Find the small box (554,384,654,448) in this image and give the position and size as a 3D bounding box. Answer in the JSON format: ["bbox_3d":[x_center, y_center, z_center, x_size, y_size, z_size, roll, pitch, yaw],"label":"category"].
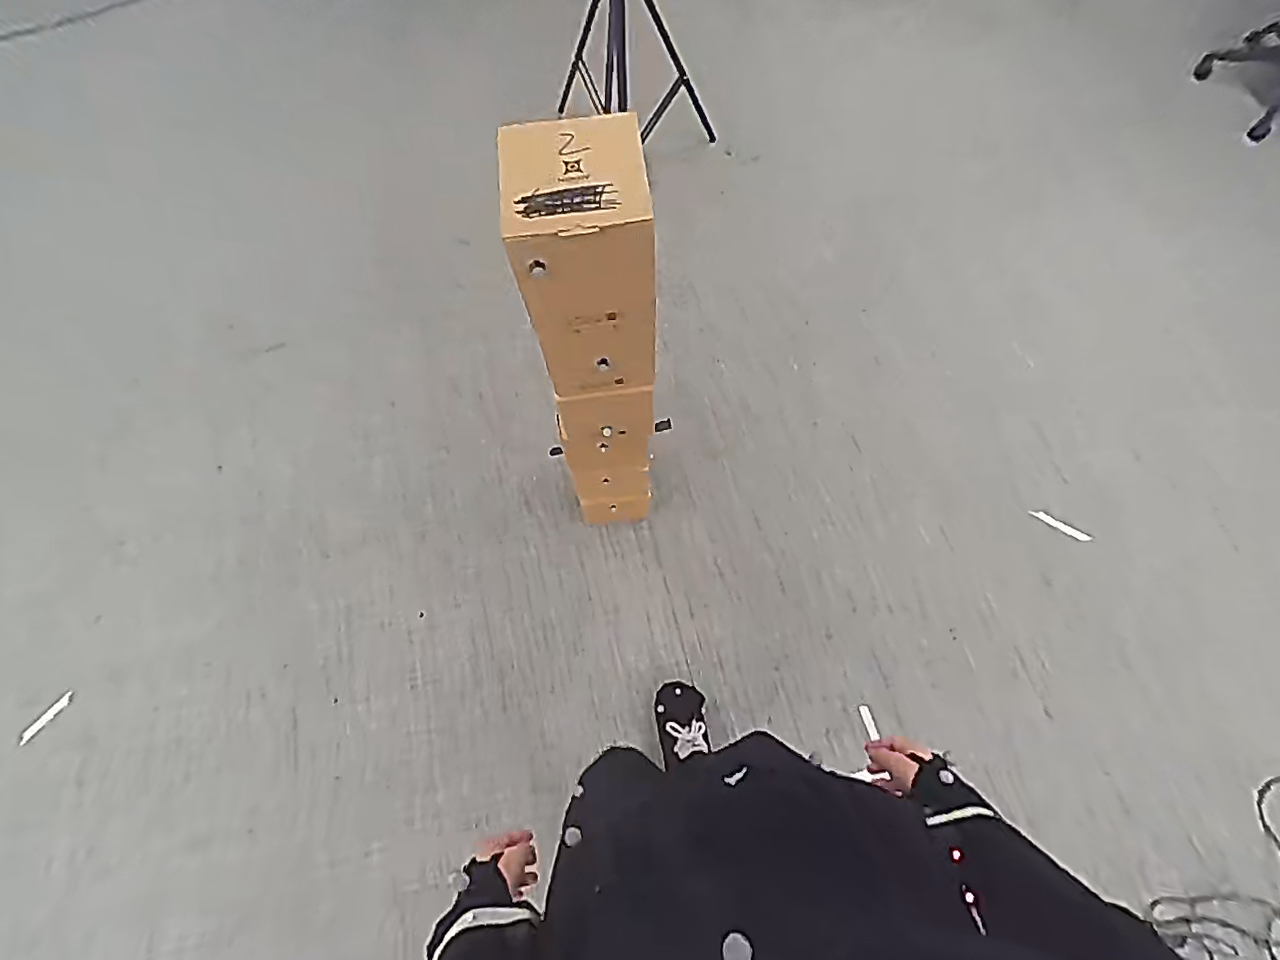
[{"bbox_3d":[-0.066,-0.176,0.987,0.168,0.176,0.179,-6,70,-1],"label":"small box"}]

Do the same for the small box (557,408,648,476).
[{"bbox_3d":[-0.077,-0.116,1.140,0.179,0.176,0.168,-5,69,-2],"label":"small box"}]

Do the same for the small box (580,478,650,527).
[{"bbox_3d":[-0.069,0.020,1.437,0.179,0.176,0.168,-6,68,-2],"label":"small box"}]

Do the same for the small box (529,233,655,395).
[{"bbox_3d":[-0.069,-0.245,0.838,0.168,0.176,0.179,-8,70,-2],"label":"small box"}]

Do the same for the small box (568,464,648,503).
[{"bbox_3d":[-0.073,-0.049,1.287,0.179,0.176,0.168,-3,69,0],"label":"small box"}]
